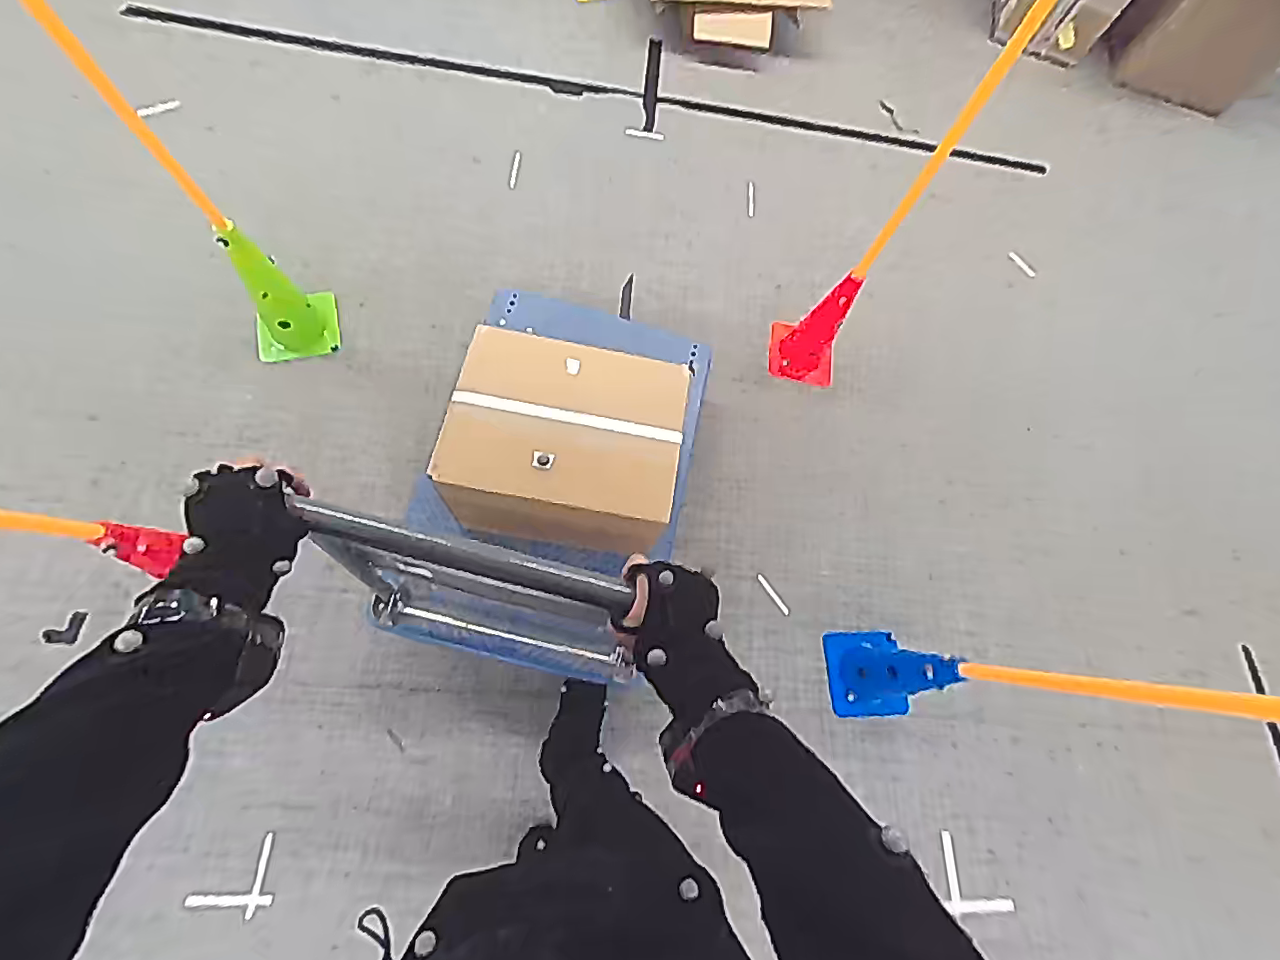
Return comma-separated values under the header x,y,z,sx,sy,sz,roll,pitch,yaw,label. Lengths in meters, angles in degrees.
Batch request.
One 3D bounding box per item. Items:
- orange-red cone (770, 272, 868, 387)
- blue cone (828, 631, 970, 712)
x,y,z,sx,sy,sz,roll,pitch,yaw,label
0.525,-0.442,1.501,0.199,0.360,0.198,13,69,-4,orange-red cone
0.594,0.417,1.204,0.193,0.380,0.192,2,68,-8,blue cone
